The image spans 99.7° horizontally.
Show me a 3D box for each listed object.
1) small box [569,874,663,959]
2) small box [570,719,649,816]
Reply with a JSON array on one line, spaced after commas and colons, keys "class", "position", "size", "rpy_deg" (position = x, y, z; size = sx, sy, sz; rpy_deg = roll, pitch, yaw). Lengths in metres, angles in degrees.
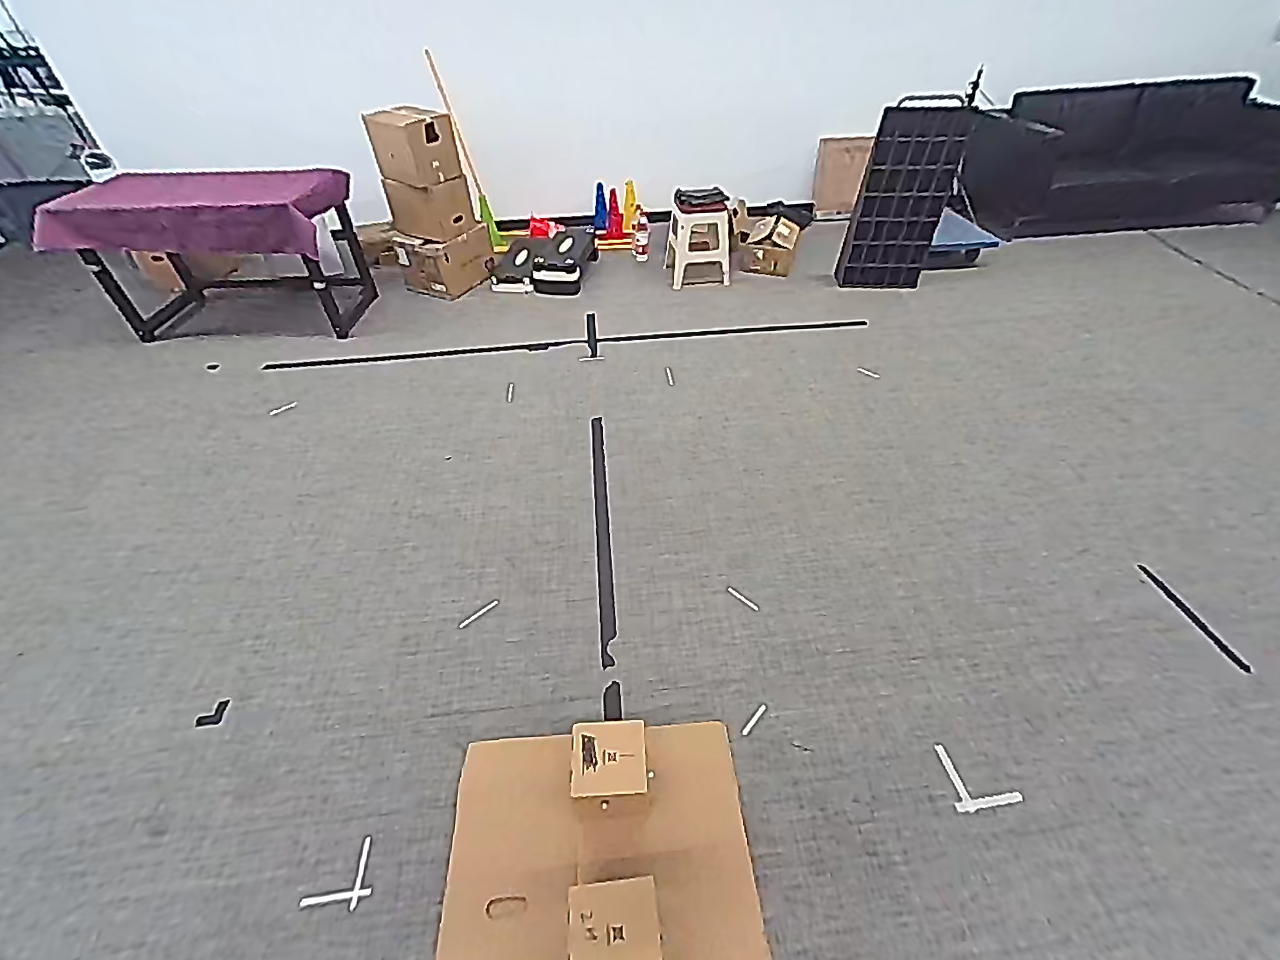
[{"class": "small box", "position": [-0.047, 0.920, 1.092], "size": [0.179, 0.176, 0.168], "rpy_deg": [-5, 42, -2]}, {"class": "small box", "position": [-0.070, 0.706, 1.326], "size": [0.179, 0.176, 0.168], "rpy_deg": [-2, 43, -1]}]
